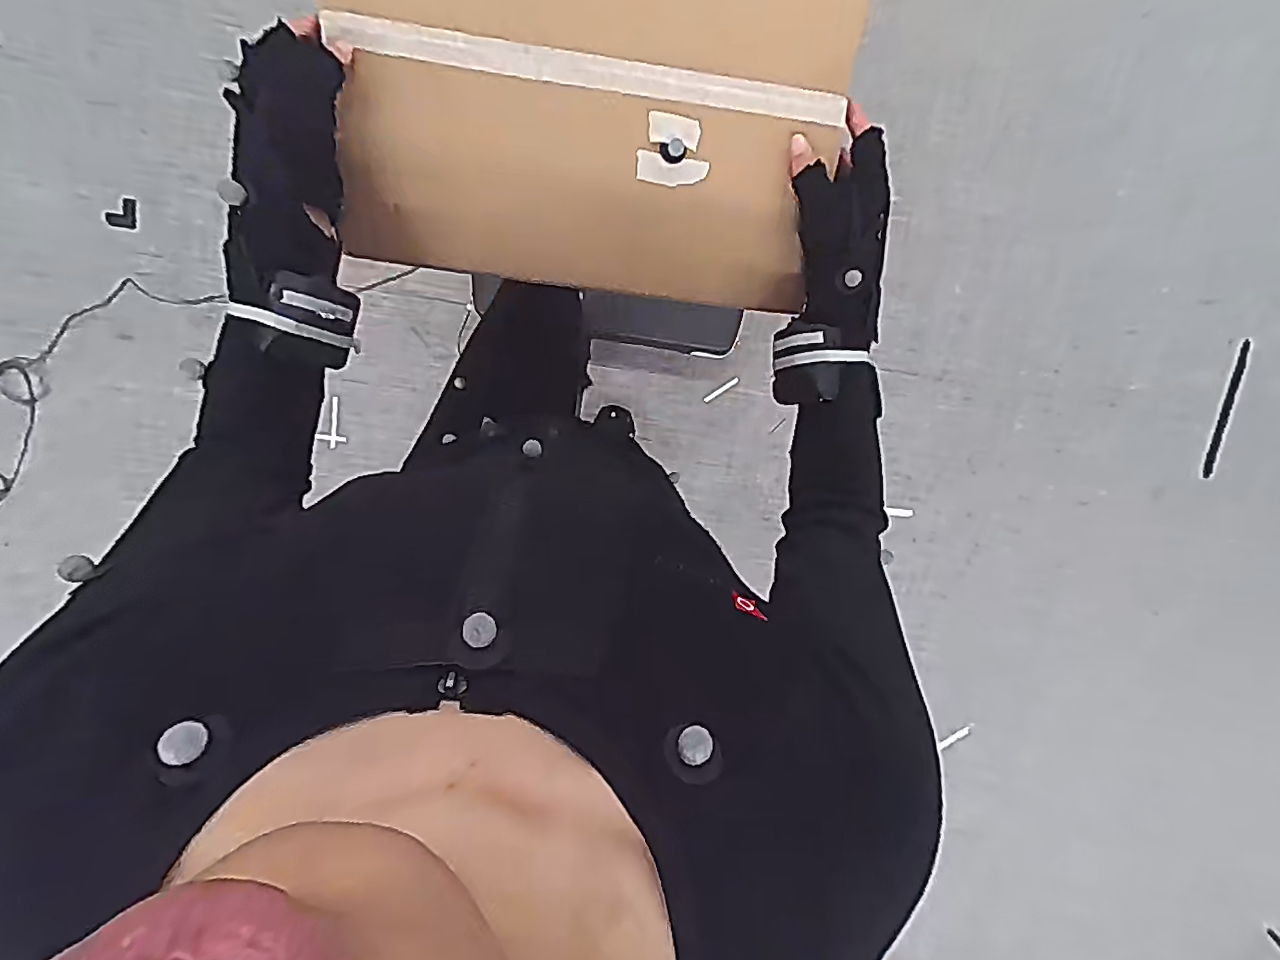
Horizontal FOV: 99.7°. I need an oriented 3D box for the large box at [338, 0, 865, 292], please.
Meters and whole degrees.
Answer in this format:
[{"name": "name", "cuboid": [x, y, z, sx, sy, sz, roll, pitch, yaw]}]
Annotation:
[{"name": "large box", "cuboid": [-0.041, -0.380, 0.560, 0.408, 0.320, 0.320, 5, 111, -6]}]
